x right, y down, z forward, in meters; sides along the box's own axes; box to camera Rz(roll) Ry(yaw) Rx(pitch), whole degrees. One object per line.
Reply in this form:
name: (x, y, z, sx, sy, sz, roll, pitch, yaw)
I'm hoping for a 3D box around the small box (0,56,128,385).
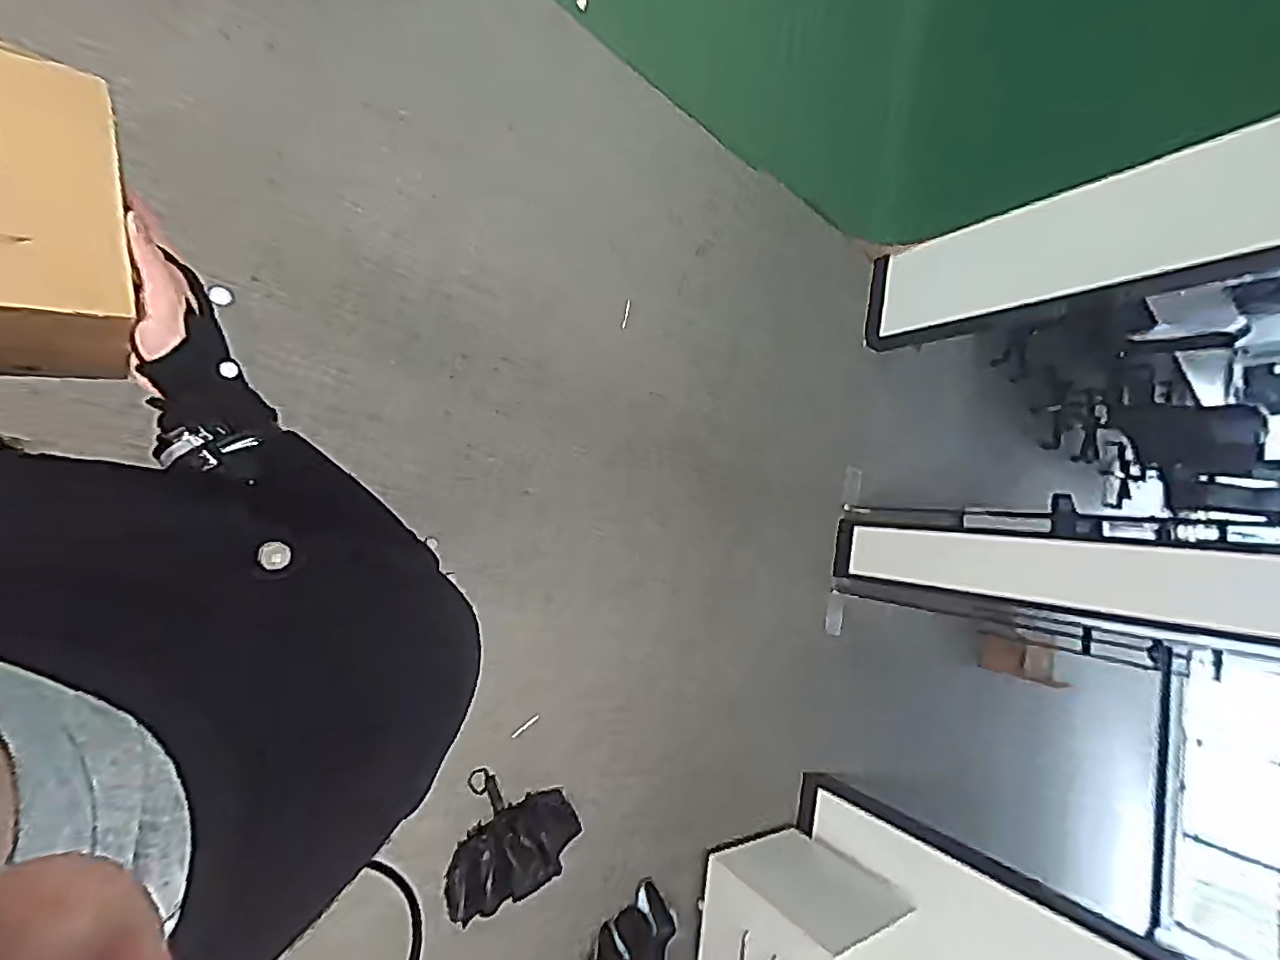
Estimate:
small box: (-0.482, -0.176, 0.376, 0.168, 0.176, 0.179, -6, 88, -46)
